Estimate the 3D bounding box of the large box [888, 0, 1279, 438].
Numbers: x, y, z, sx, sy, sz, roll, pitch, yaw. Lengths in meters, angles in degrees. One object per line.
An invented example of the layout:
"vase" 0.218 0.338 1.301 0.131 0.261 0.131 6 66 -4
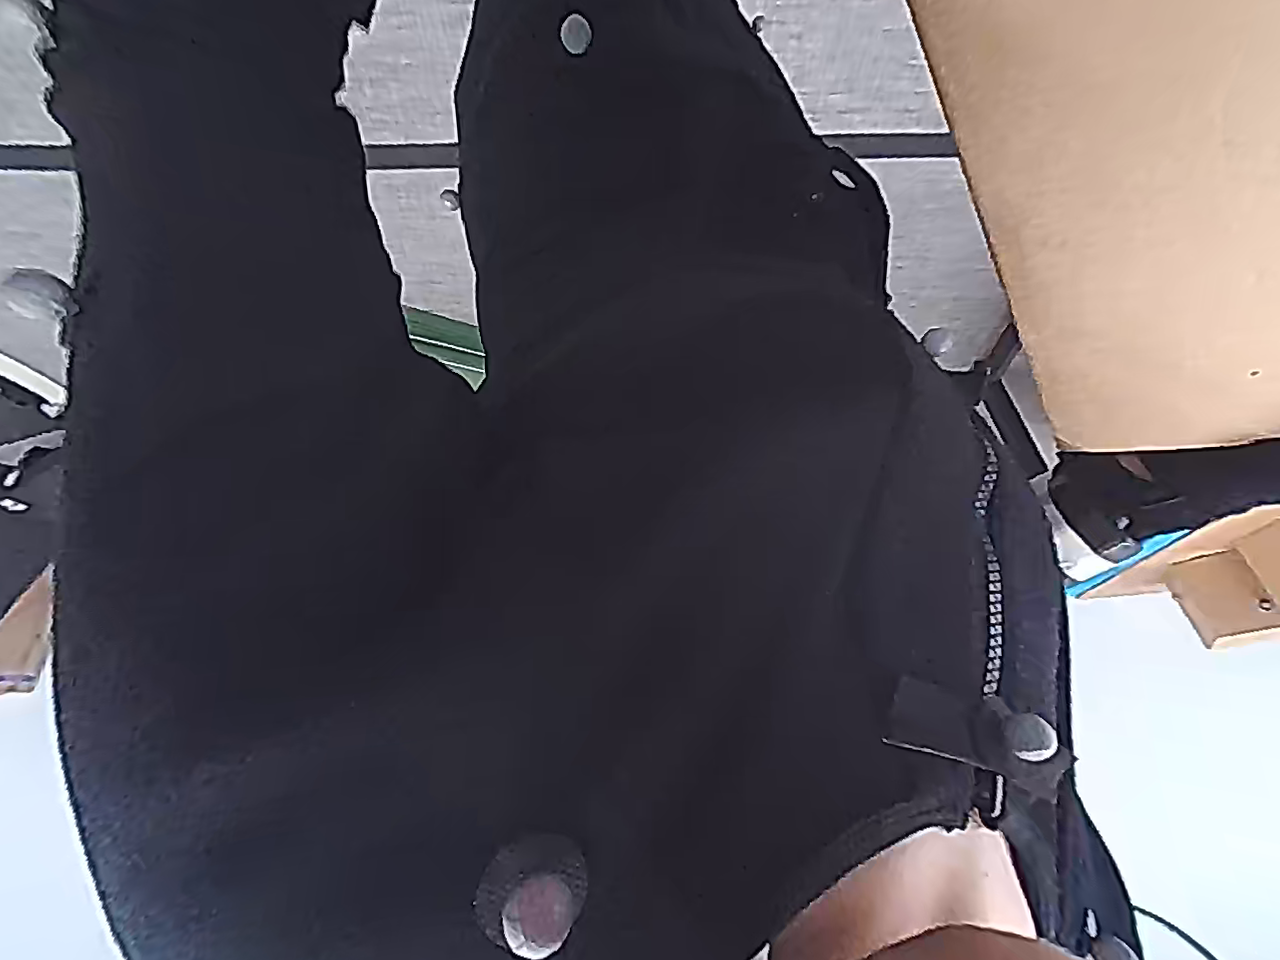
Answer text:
"large box" 0.299 -0.263 0.184 0.320 0.320 0.408 0 147 47
